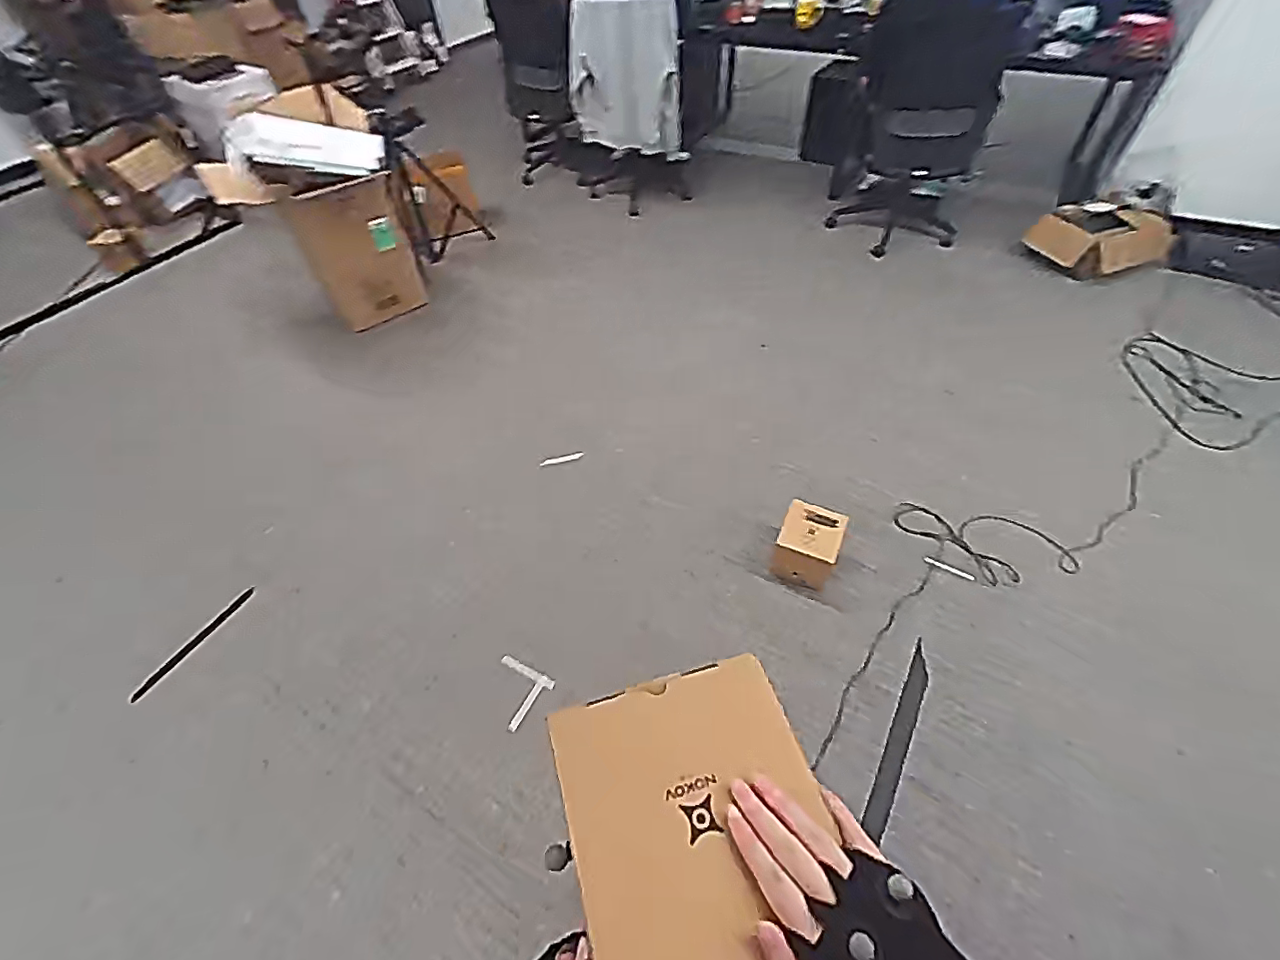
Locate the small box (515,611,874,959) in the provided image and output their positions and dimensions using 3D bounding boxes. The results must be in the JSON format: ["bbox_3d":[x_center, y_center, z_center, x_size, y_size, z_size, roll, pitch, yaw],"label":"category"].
[{"bbox_3d":[0.035,0.223,0.389,0.179,0.176,0.168,-27,33,-4],"label":"small box"}]
